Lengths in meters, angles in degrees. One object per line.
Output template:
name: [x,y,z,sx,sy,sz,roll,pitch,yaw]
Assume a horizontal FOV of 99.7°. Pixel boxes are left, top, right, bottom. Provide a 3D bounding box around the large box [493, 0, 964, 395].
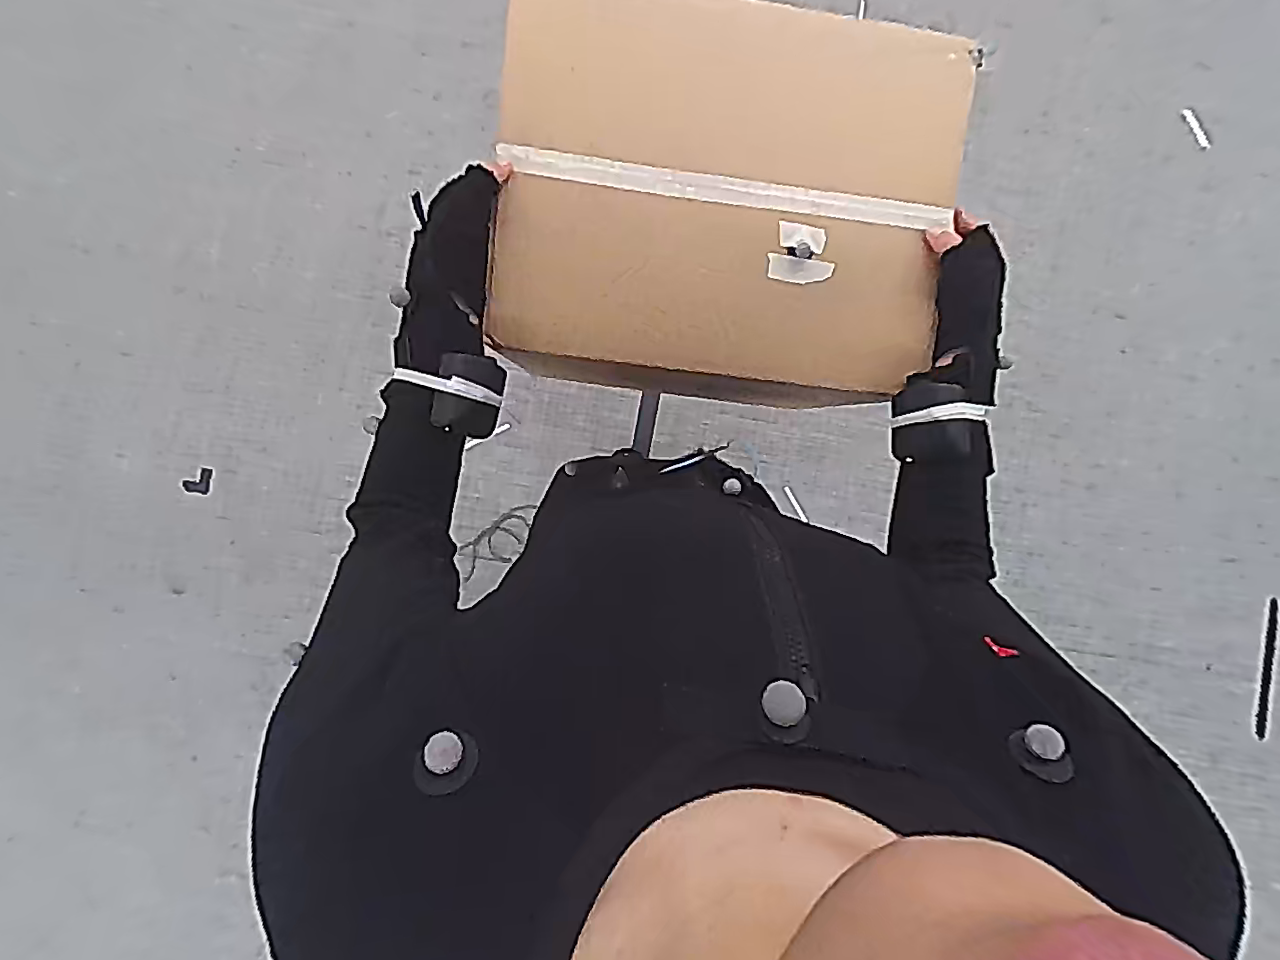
large box: [0.066,-0.280,0.629,0.408,0.320,0.320,7,97,-5]
